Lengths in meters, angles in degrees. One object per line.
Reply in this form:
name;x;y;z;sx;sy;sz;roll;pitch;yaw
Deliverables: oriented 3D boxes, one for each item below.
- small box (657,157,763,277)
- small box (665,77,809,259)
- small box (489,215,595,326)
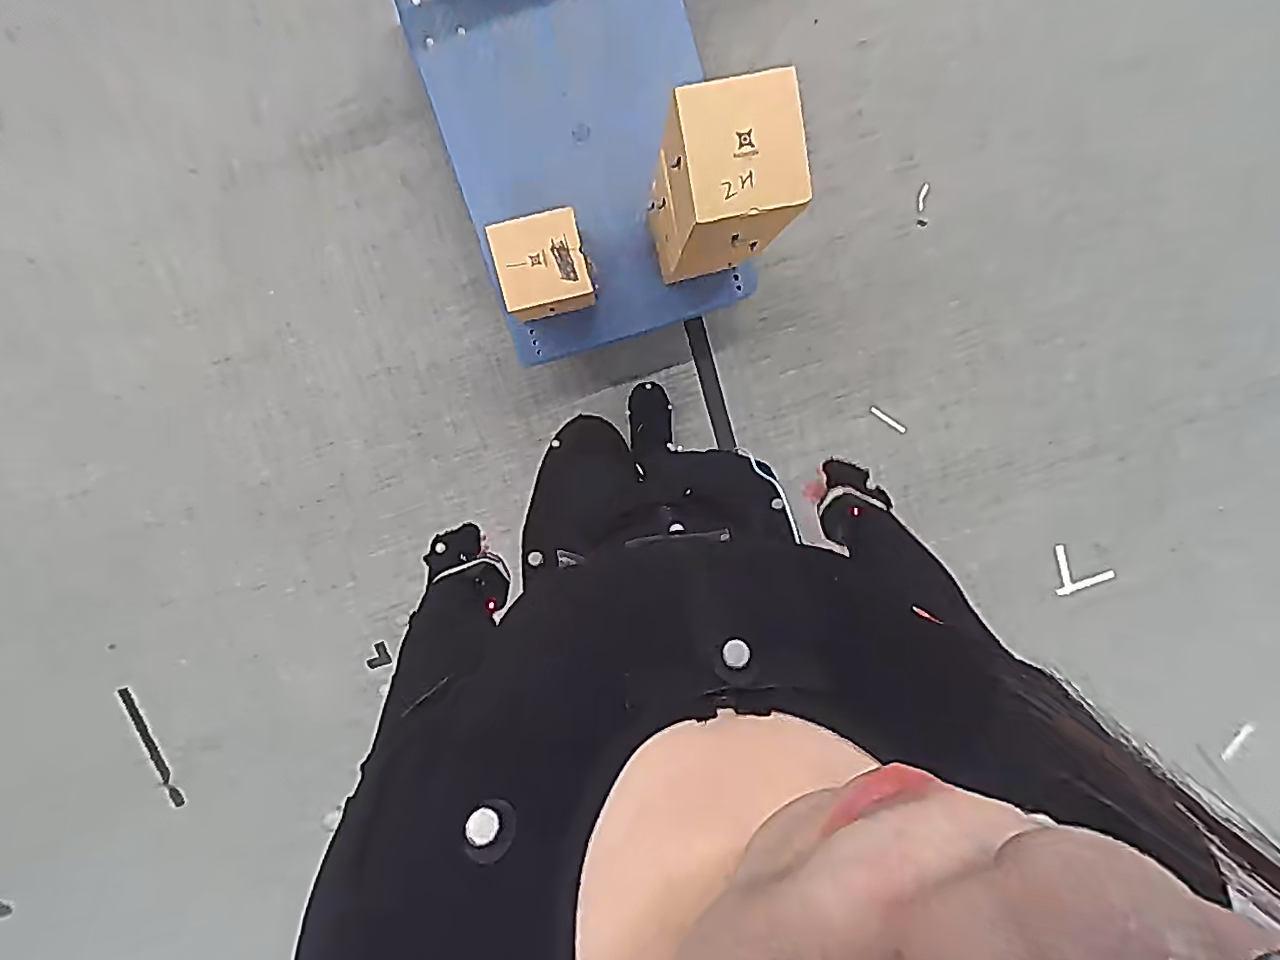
small box;0.129;-0.478;0.975;0.179;0.176;0.168;-13;100;-1
small box;0.136;-0.454;0.812;0.168;0.176;0.179;-11;100;-1
small box;-0.195;-0.431;1.135;0.179;0.176;0.168;-13;100;1
